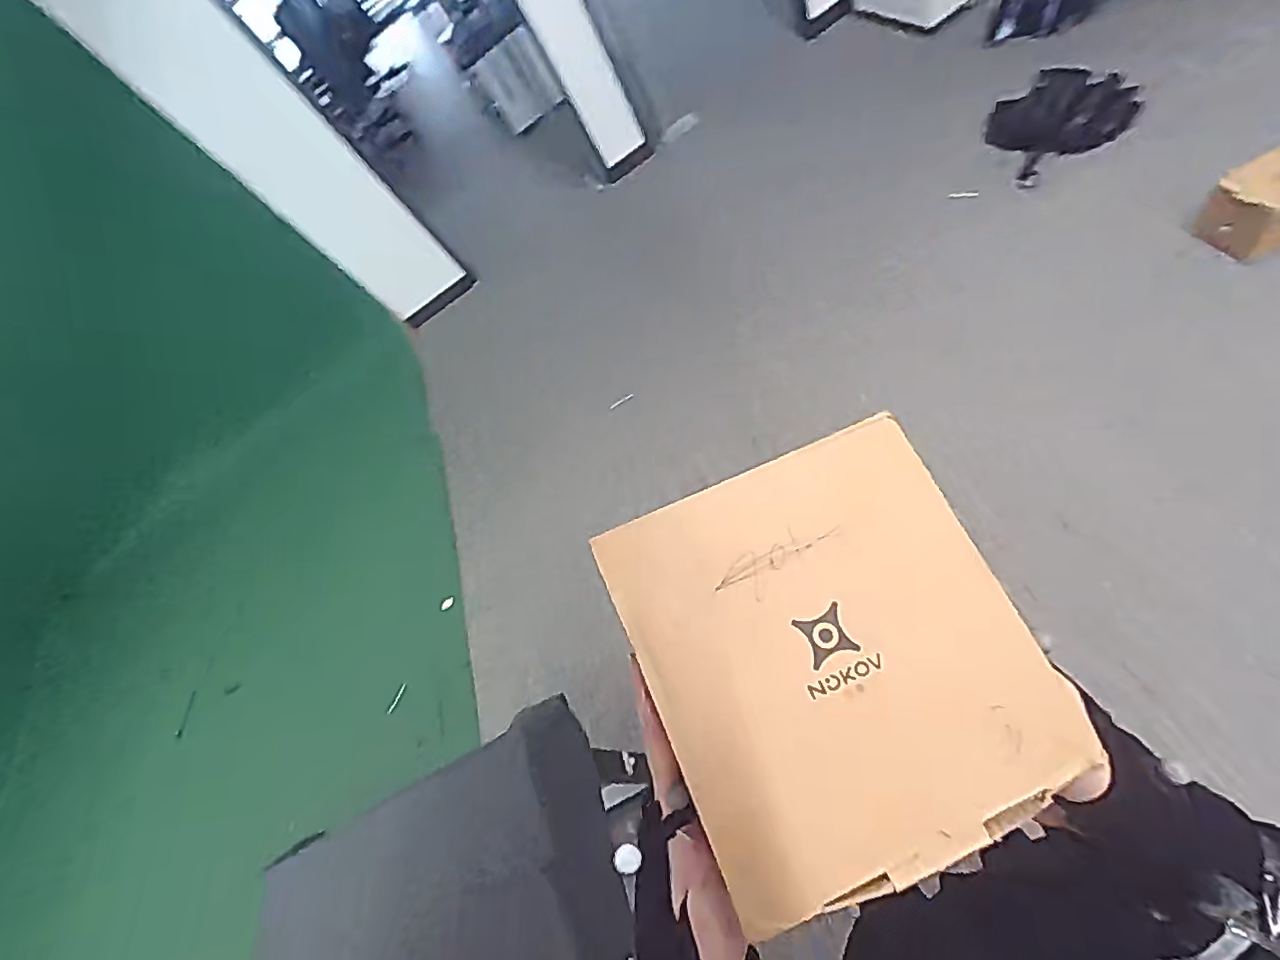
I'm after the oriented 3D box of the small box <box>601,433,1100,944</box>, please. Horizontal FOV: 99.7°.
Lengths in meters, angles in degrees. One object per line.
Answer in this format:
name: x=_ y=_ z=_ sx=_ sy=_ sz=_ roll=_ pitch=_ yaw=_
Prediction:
small box: x=0.090 y=0.104 z=0.320 sx=0.168 sy=0.176 sz=0.179 roll=-22 pitch=71 yaw=-6
